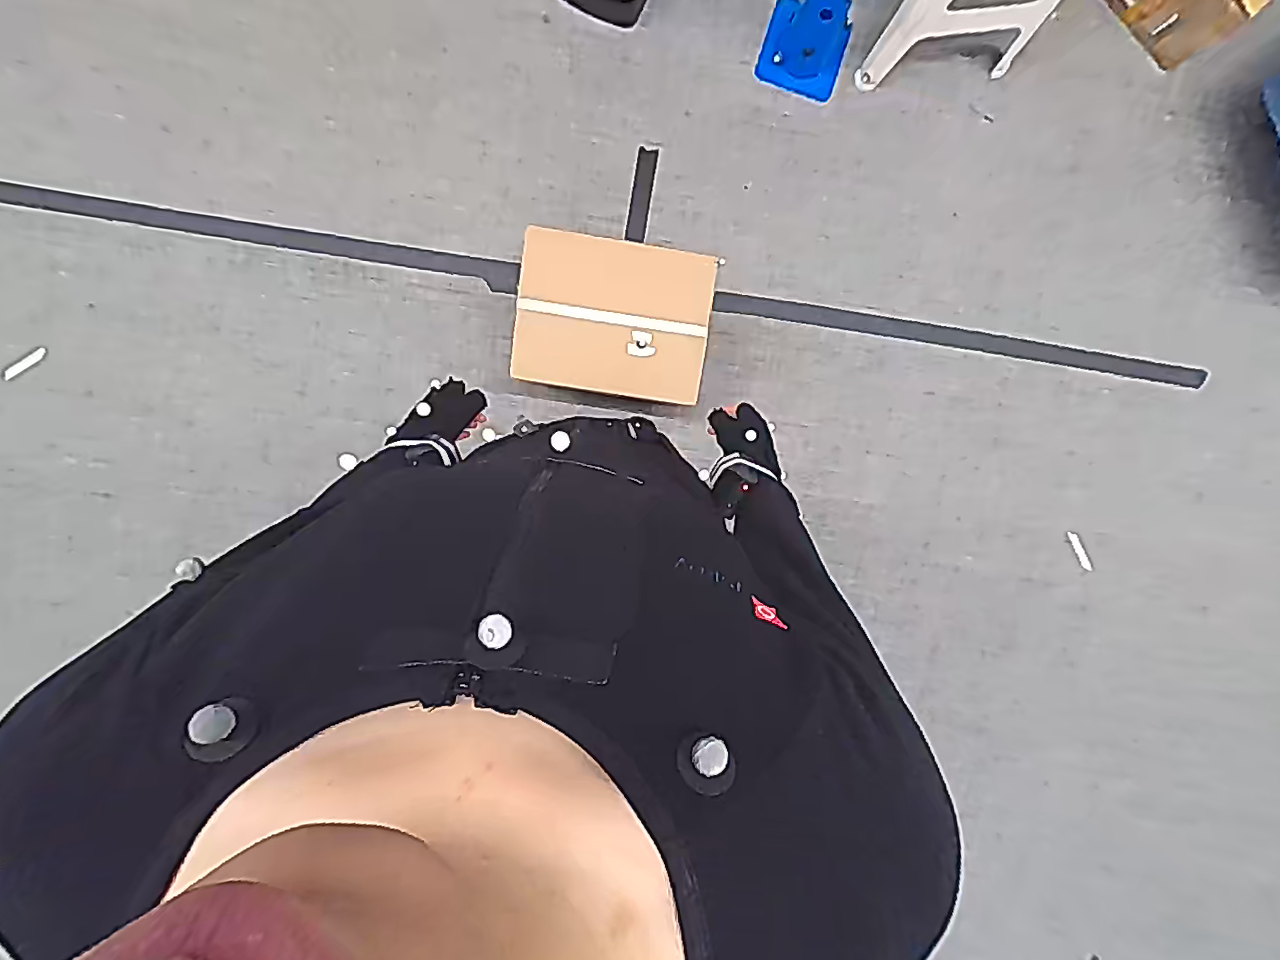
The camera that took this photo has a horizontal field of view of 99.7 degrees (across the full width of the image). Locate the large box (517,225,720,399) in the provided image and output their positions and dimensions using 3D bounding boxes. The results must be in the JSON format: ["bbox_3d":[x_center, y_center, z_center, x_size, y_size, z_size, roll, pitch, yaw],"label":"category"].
[{"bbox_3d":[-0.056,-0.371,1.283,0.408,0.320,0.320,8,99,-4],"label":"large box"}]
